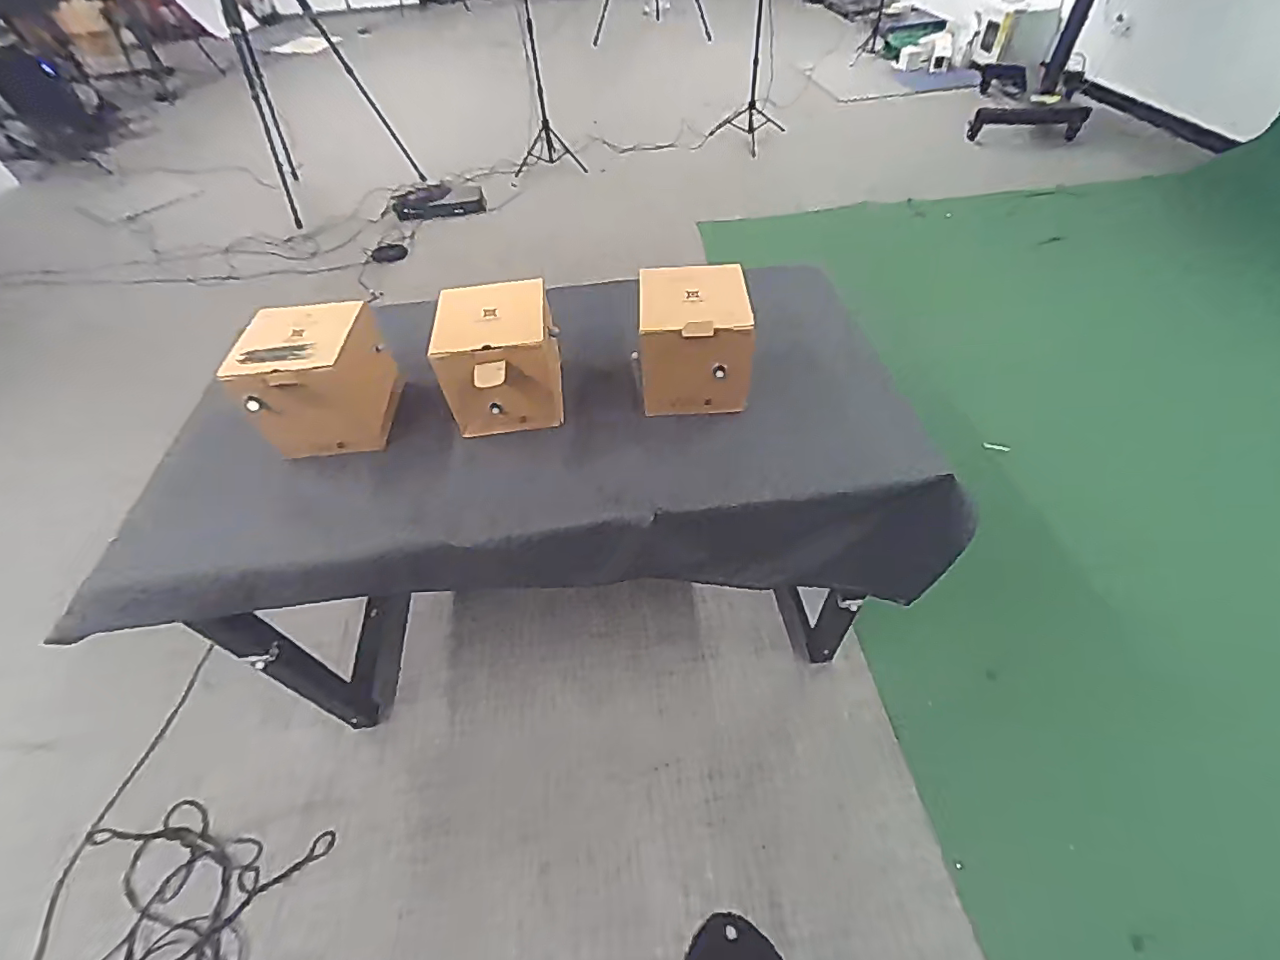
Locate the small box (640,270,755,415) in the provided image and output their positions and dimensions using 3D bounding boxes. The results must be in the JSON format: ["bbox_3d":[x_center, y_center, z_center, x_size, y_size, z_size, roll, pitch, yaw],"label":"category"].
[{"bbox_3d":[0.086,-0.218,0.880,0.168,0.176,0.179,-2,49,1],"label":"small box"}]

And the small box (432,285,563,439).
[{"bbox_3d":[-0.219,-0.190,0.878,0.168,0.176,0.179,-7,50,-3],"label":"small box"}]
